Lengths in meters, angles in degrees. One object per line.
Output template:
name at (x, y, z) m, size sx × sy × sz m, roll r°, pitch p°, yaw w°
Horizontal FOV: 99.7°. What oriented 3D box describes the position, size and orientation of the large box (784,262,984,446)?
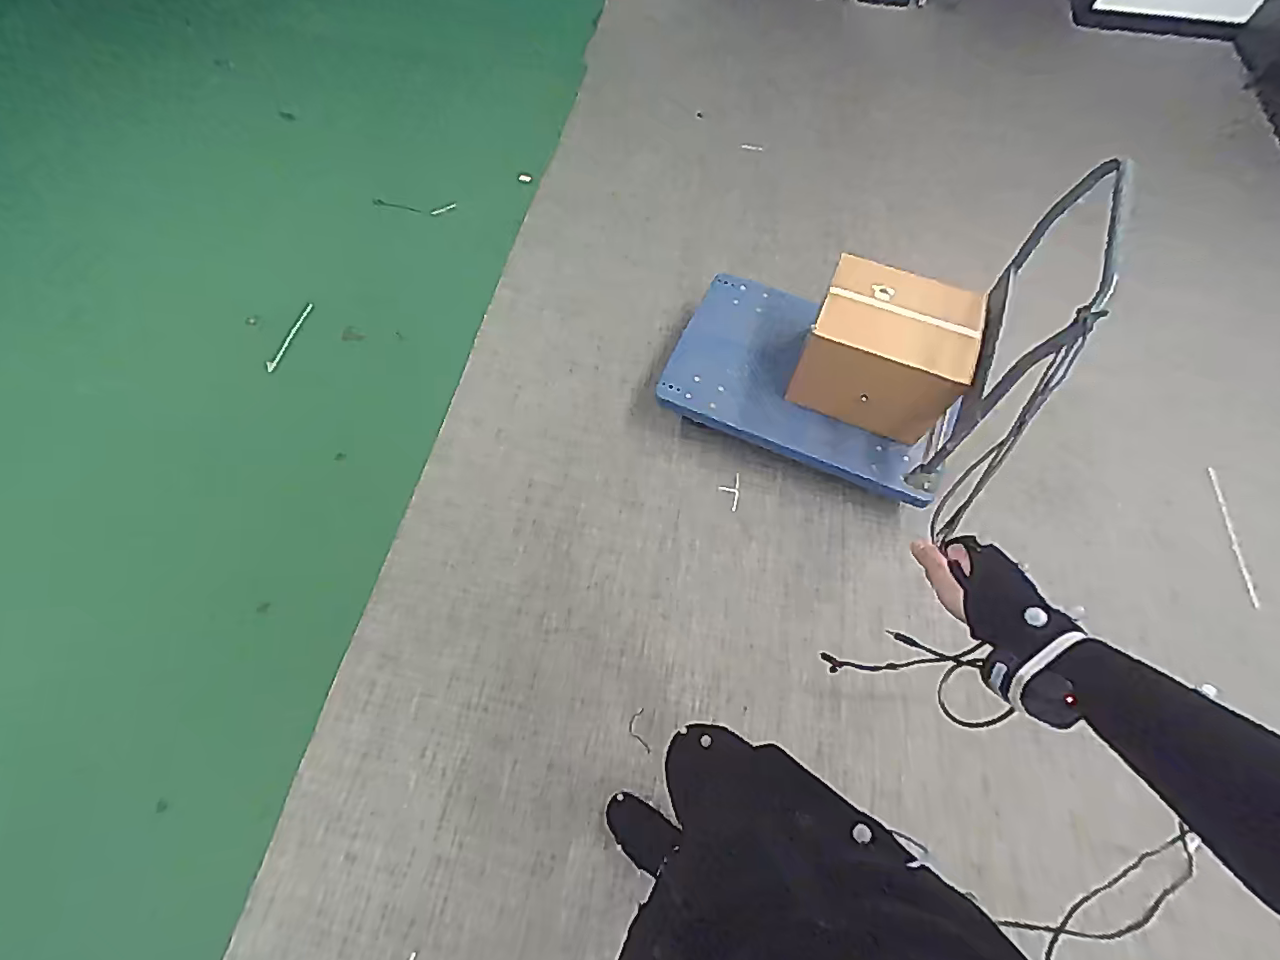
large box at (0.676, -0.348, 1.539) m, size 0.408 × 0.320 × 0.320 m, roll 21°, pitch 65°, yaw 11°
